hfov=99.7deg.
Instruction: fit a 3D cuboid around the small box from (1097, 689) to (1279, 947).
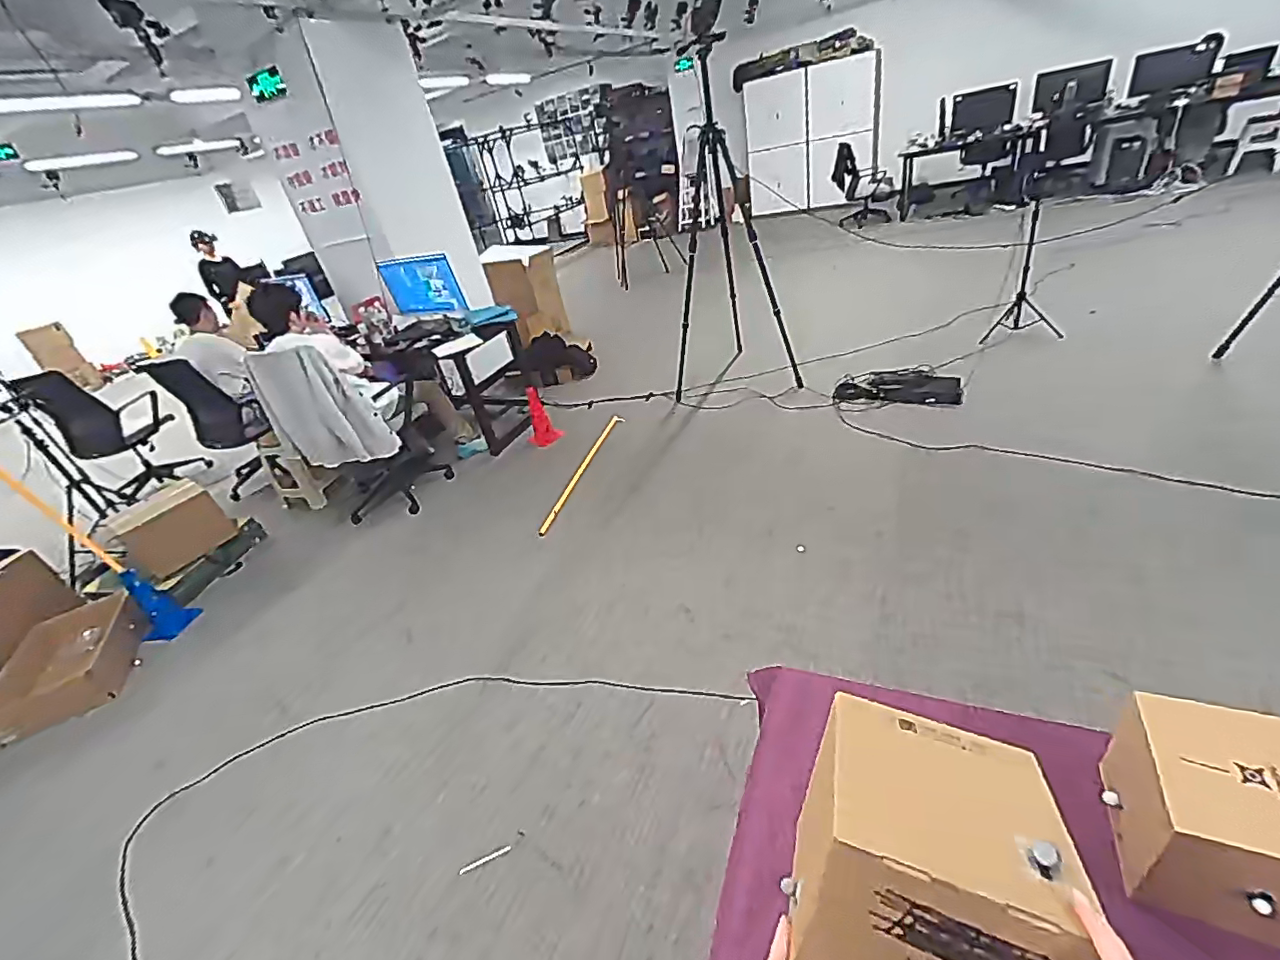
[{"bbox_3d":[0.638,0.365,0.586,0.179,0.176,0.168,4,36,28],"label":"small box"}]
